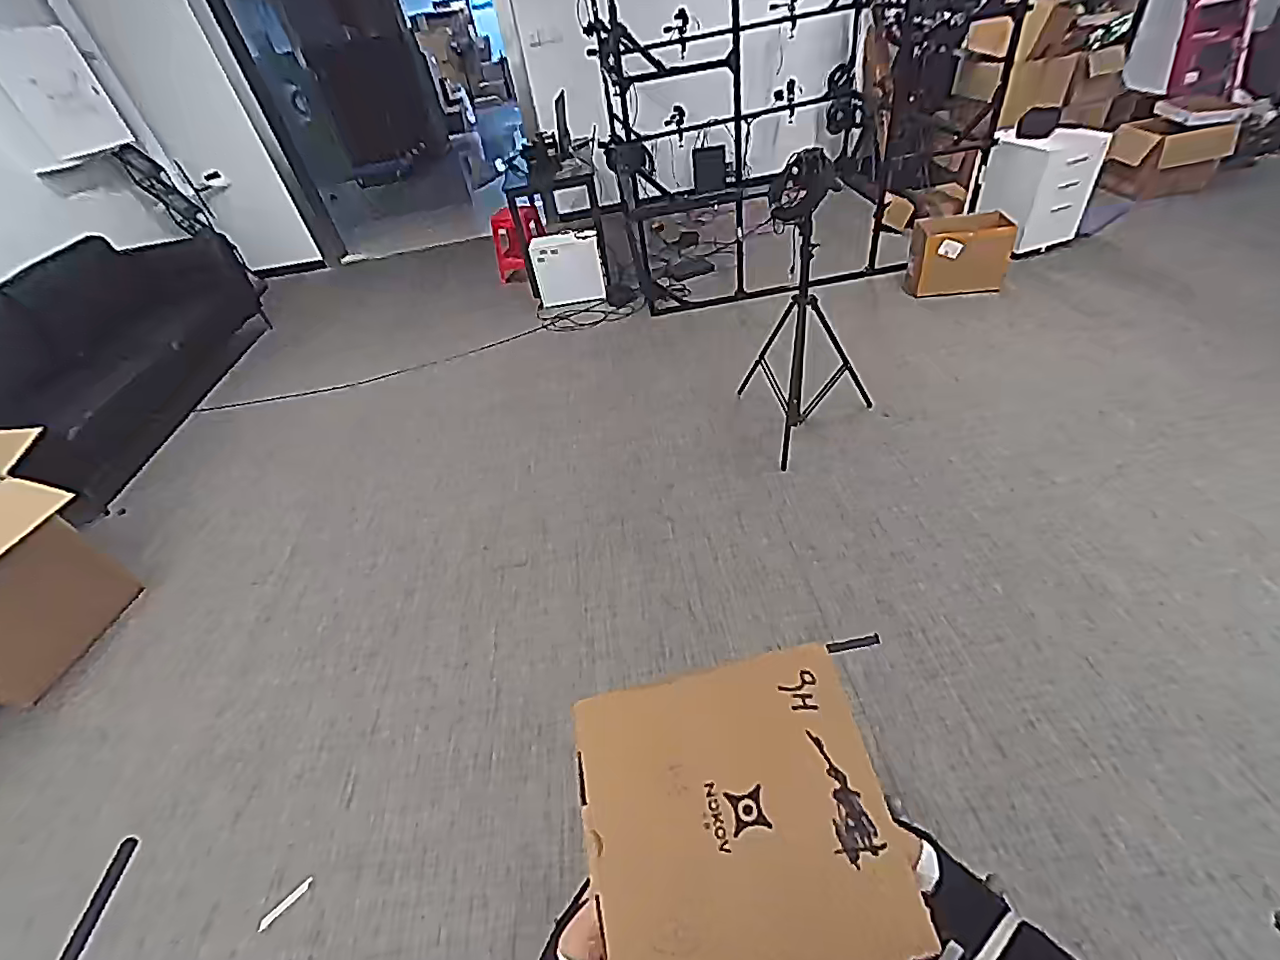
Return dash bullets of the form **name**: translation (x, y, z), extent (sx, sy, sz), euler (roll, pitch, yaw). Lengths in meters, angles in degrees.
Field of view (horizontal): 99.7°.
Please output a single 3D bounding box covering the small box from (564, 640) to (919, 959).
- **small box**: translation (0.059, 0.236, 0.392), extent (0.179, 0.176, 0.168), euler (-15, 59, 0)
